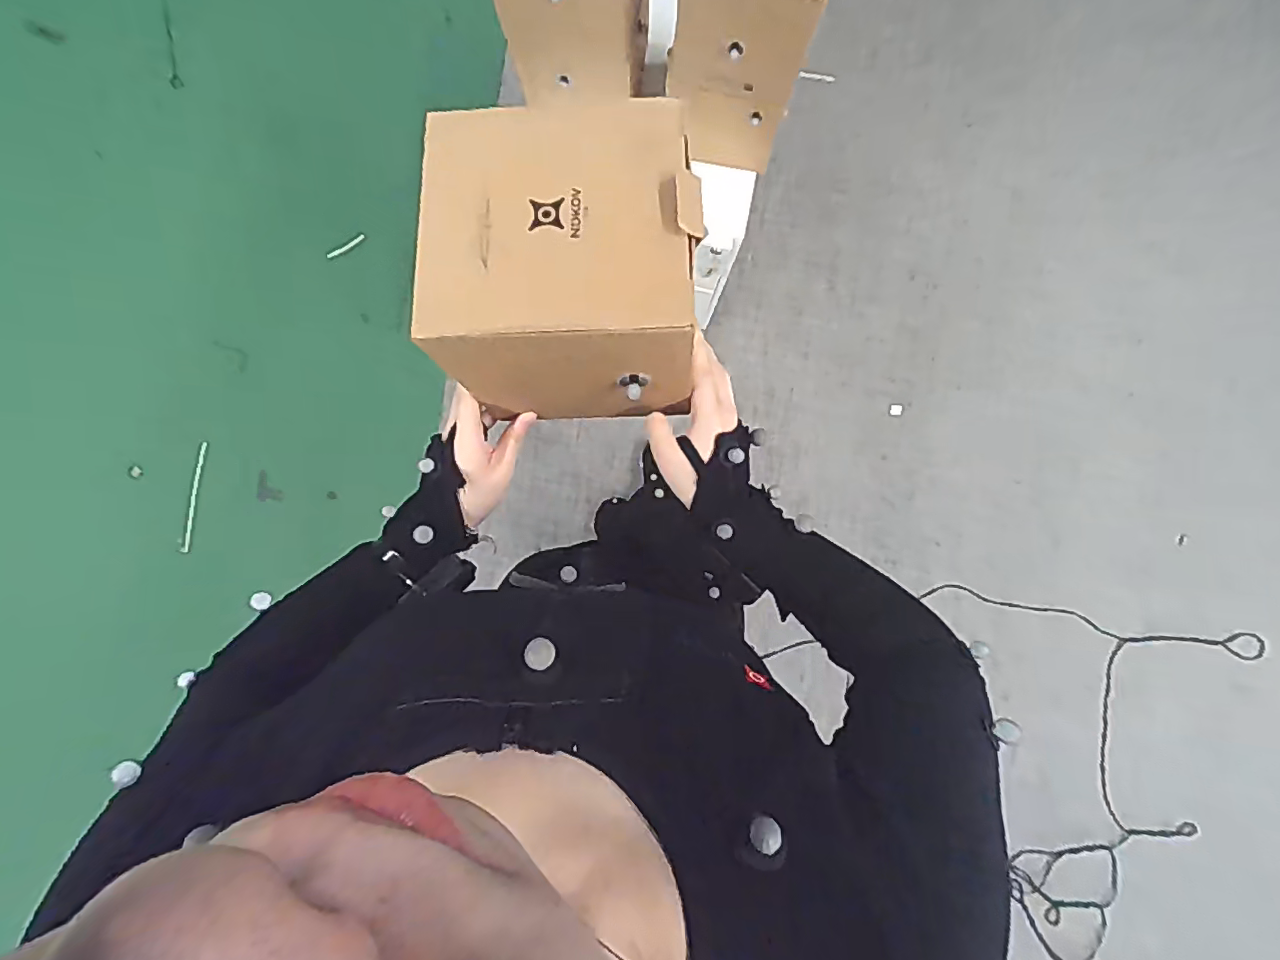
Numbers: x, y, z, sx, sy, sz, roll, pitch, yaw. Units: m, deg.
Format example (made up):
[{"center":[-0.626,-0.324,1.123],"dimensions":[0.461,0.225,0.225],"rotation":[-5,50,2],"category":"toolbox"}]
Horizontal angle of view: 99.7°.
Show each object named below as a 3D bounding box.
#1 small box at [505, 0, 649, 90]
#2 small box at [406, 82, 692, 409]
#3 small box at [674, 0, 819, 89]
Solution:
[{"center":[-0.086,-0.688,0.818],"dimensions":[0.179,0.176,0.168],"rotation":[10,91,-1],"category":"small box"},{"center":[-0.052,-0.159,0.417],"dimensions":[0.179,0.176,0.168],"rotation":[-1,78,5],"category":"small box"},{"center":[0.139,-0.623,0.653],"dimensions":[0.168,0.176,0.179],"rotation":[12,91,0],"category":"small box"}]
